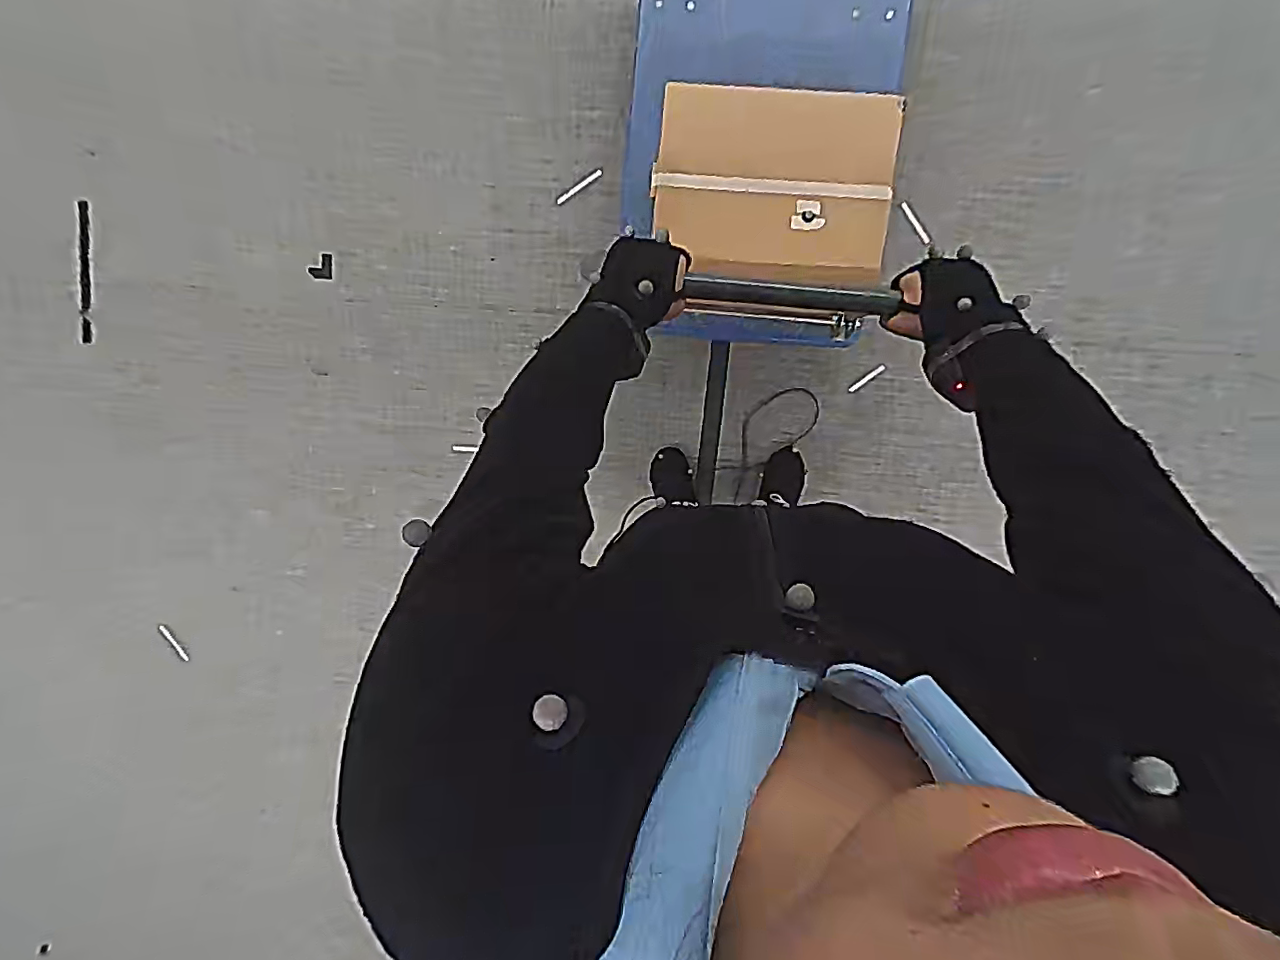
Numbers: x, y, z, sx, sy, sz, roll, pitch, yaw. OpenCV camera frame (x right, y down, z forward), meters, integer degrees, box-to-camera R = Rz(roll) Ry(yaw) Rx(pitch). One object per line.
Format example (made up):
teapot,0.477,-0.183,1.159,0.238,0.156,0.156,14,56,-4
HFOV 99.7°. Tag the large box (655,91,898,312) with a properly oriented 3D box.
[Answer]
large box,0.241,-0.533,1.100,0.408,0.320,0.320,5,100,3
